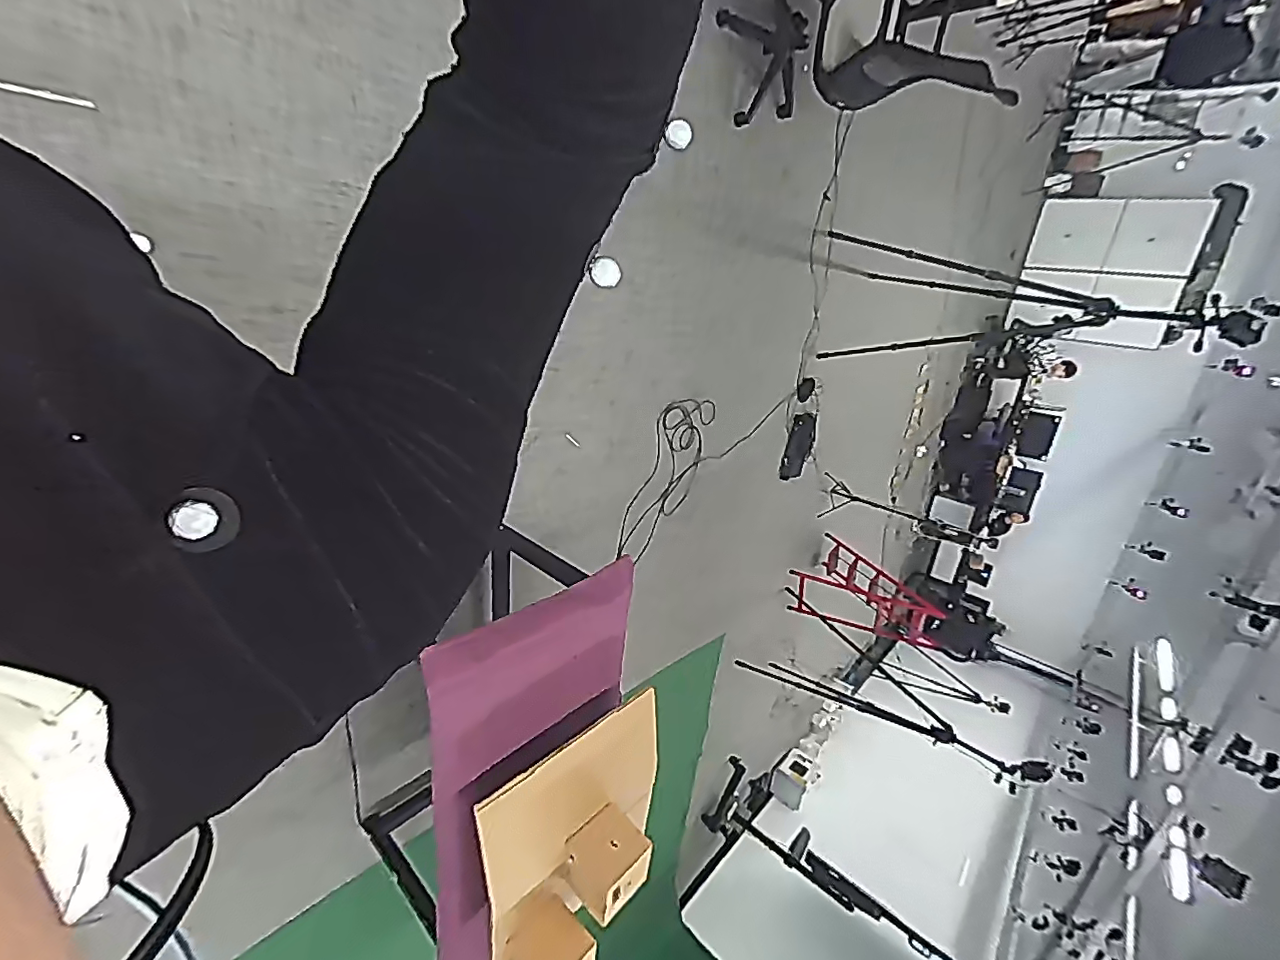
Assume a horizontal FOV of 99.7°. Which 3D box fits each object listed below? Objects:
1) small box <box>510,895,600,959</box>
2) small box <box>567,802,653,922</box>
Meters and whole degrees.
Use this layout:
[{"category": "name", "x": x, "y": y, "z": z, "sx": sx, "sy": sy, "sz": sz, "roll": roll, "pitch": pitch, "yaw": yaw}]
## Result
[{"category": "small box", "x": -0.234, "y": 1.295, "z": 1.470, "sx": 0.179, "sy": 0.176, "sz": 0.168, "roll": -19, "pitch": 124, "yaw": -44}, {"category": "small box", "x": -0.088, "y": 1.060, "z": 1.515, "sx": 0.179, "sy": 0.176, "sz": 0.168, "roll": -20, "pitch": 125, "yaw": -45}]
